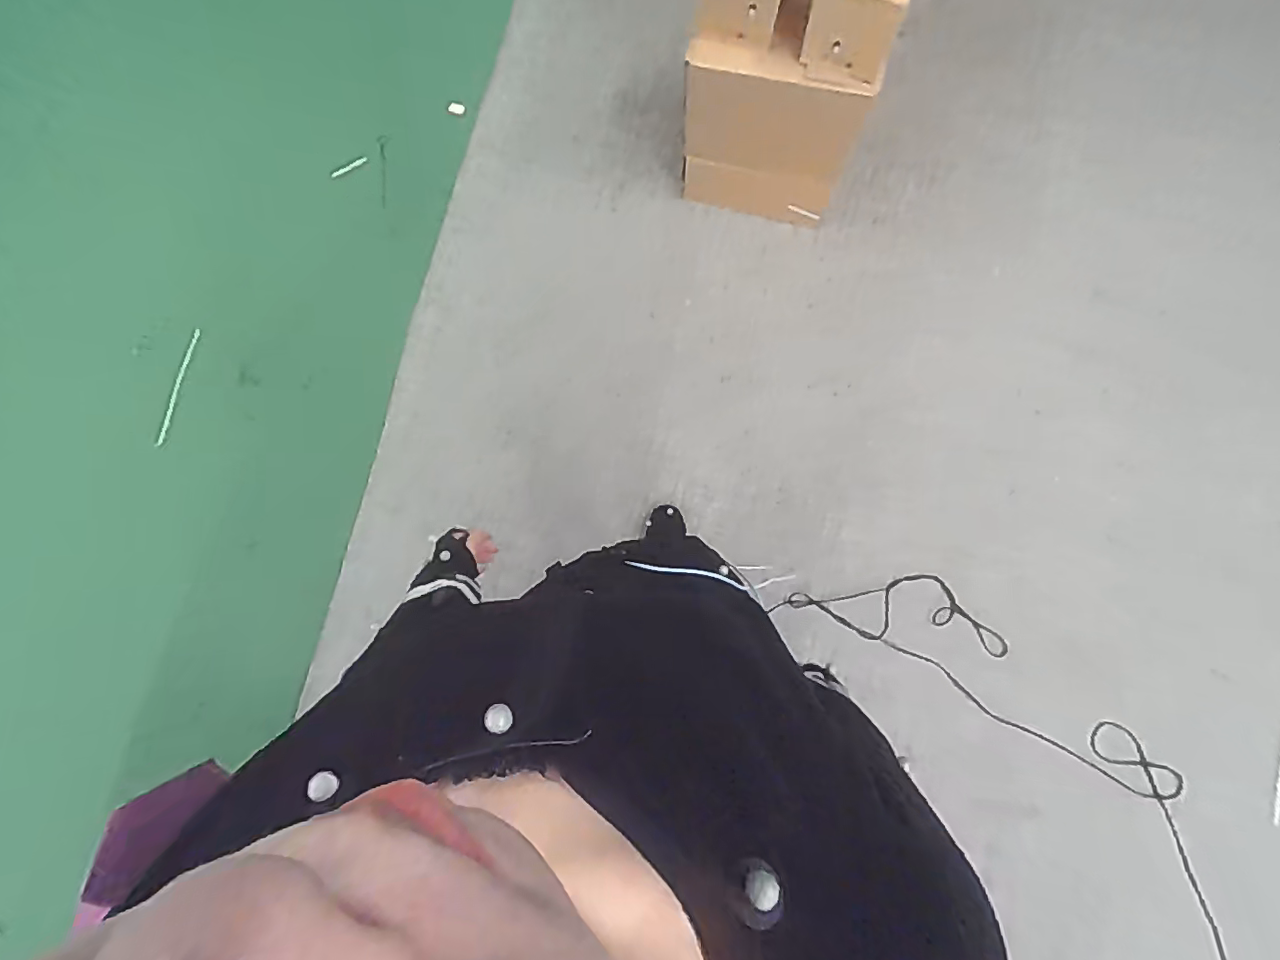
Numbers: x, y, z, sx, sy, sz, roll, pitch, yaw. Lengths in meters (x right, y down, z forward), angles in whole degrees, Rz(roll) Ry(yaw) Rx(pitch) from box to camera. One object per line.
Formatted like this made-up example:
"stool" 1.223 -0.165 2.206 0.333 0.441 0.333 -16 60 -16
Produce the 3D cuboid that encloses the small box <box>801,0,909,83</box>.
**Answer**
"small box" 0.427 -0.926 1.040 0.168 0.176 0.179 21 86 7

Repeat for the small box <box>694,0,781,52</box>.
"small box" 0.206 -1.000 1.062 0.168 0.176 0.179 16 86 2
